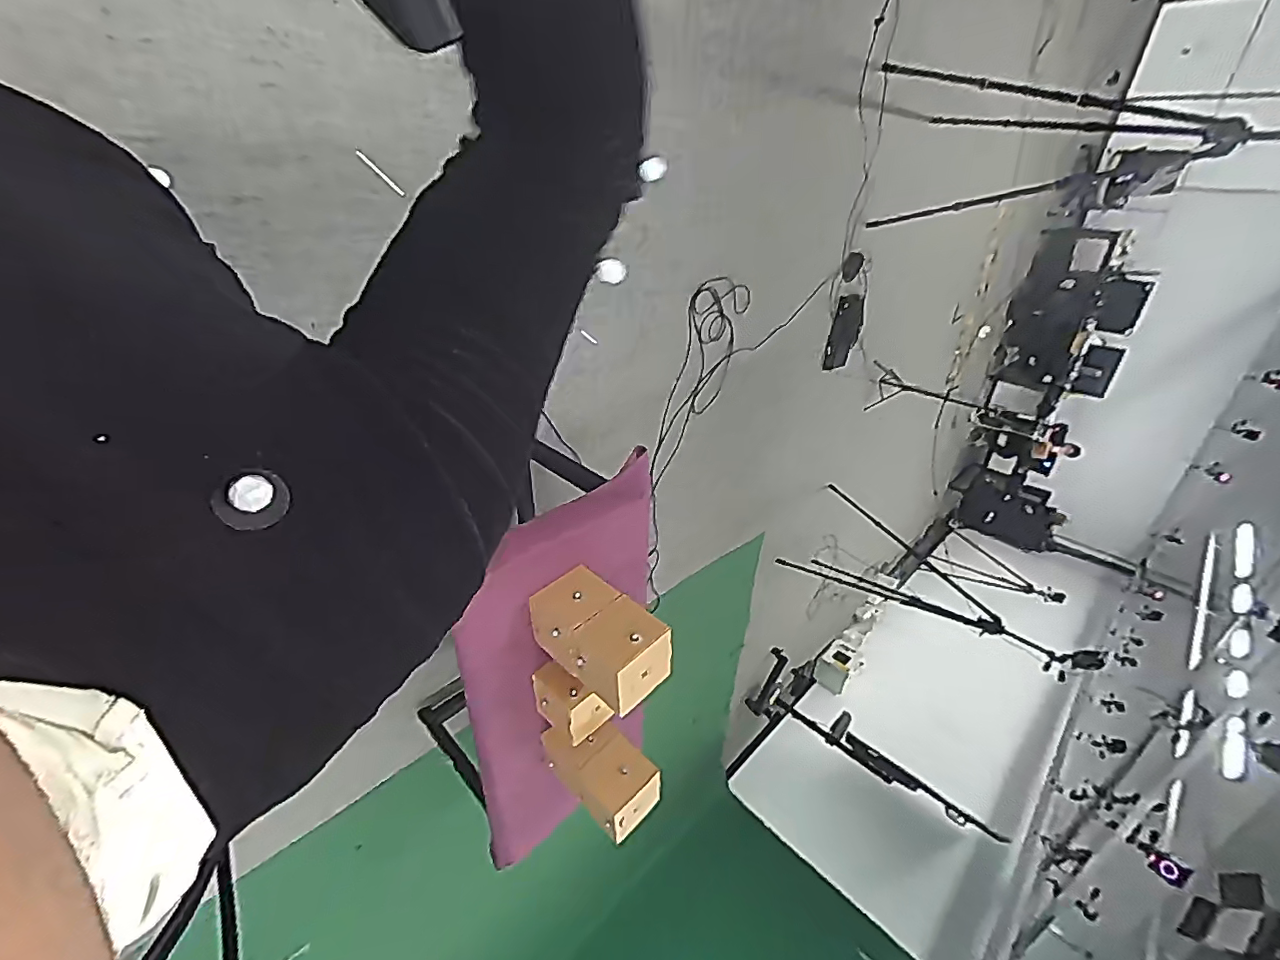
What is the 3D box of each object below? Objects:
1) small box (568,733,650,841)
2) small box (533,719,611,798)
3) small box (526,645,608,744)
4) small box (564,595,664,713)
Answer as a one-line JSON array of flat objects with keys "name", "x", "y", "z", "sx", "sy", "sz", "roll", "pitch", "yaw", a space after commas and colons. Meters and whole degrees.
[{"name": "small box", "x": -0.089, "y": 0.885, "z": 1.576, "sx": 0.179, "sy": 0.176, "sz": 0.168, "roll": -30, "pitch": 132, "yaw": -37}, {"name": "small box", "x": -0.206, "y": 0.823, "z": 1.673, "sx": 0.179, "sy": 0.176, "sz": 0.168, "roll": -28, "pitch": 131, "yaw": -36}, {"name": "small box", "x": -0.200, "y": 0.594, "z": 1.538, "sx": 0.179, "sy": 0.176, "sz": 0.168, "roll": -27, "pitch": 131, "yaw": -37}, {"name": "small box", "x": -0.063, "y": 0.411, "z": 1.307, "sx": 0.179, "sy": 0.176, "sz": 0.168, "roll": -29, "pitch": 132, "yaw": -37}]
